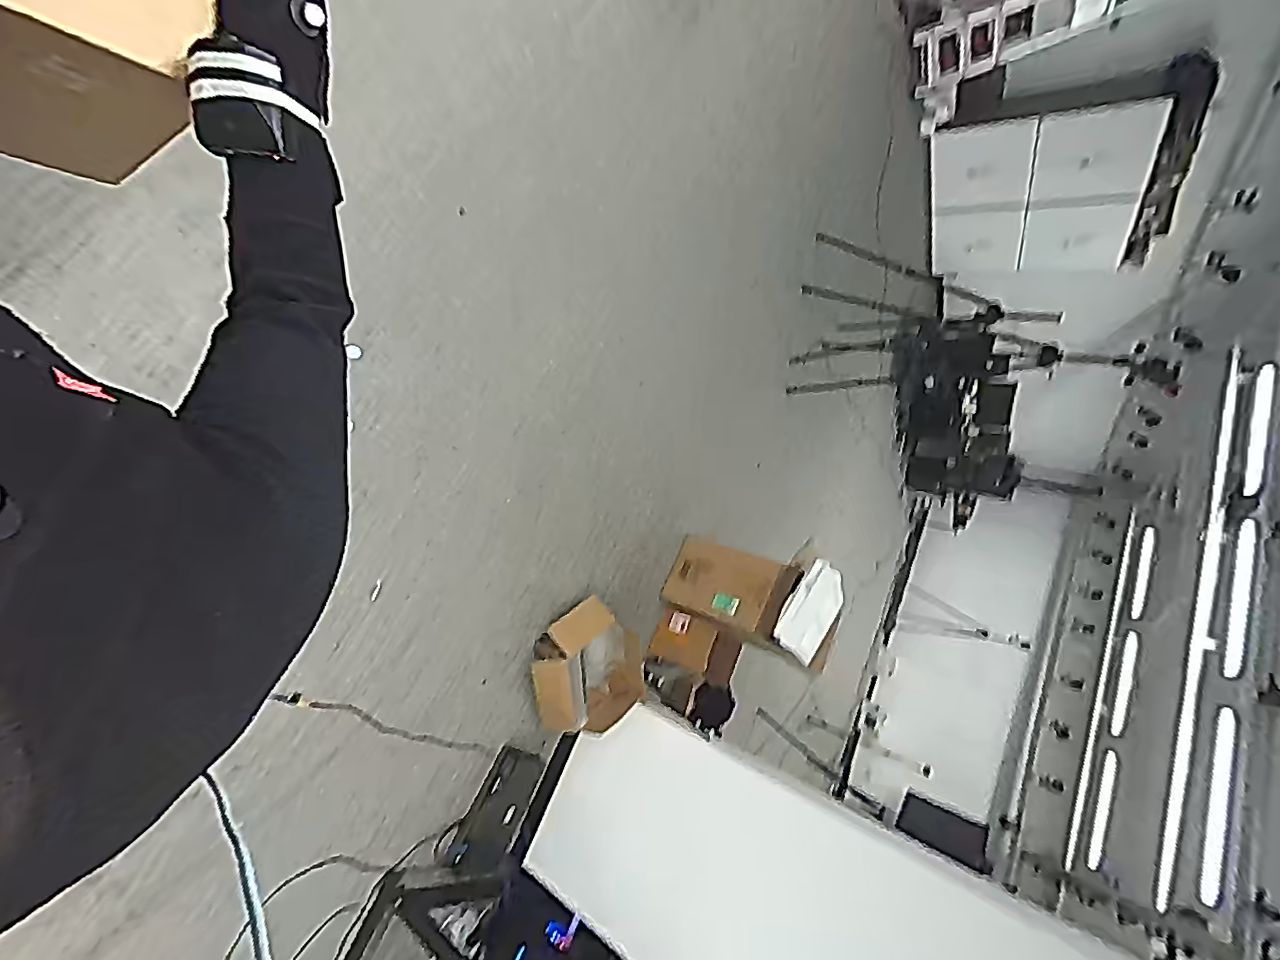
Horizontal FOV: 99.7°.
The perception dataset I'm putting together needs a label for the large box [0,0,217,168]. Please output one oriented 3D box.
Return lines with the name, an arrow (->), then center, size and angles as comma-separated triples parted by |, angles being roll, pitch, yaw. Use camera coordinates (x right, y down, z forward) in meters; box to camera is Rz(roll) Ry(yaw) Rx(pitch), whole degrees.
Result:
large box -> -0.543, -0.441, 0.302 | 0.408, 0.320, 0.320 | -7, 103, -54
